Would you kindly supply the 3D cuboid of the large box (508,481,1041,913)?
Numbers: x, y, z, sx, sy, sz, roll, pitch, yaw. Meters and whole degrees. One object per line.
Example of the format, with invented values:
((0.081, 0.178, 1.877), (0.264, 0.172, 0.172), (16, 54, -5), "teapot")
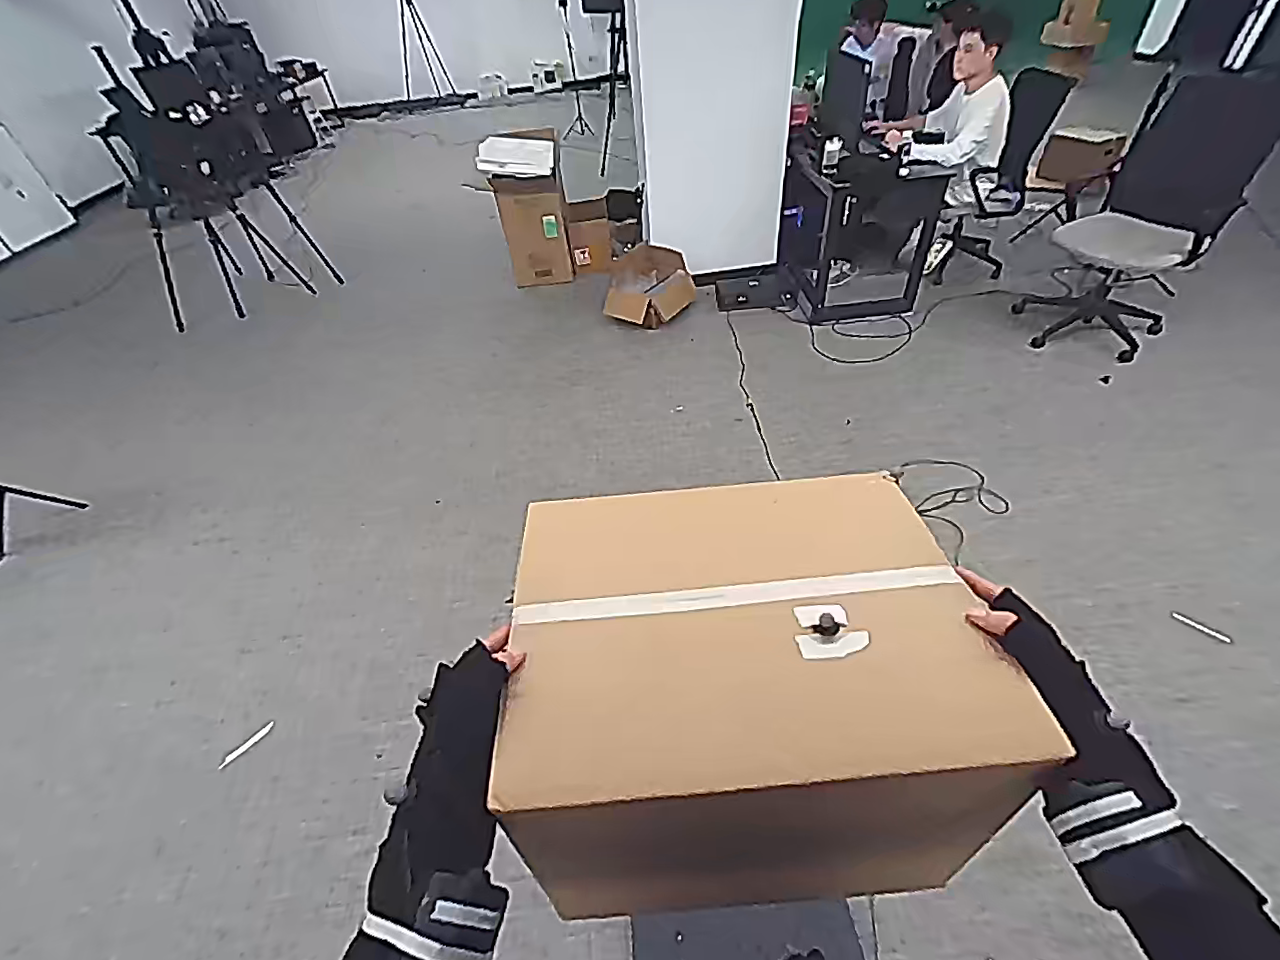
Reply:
((0.098, 0.231, 0.599), (0.408, 0.320, 0.320), (-5, 40, 0), "large box")
